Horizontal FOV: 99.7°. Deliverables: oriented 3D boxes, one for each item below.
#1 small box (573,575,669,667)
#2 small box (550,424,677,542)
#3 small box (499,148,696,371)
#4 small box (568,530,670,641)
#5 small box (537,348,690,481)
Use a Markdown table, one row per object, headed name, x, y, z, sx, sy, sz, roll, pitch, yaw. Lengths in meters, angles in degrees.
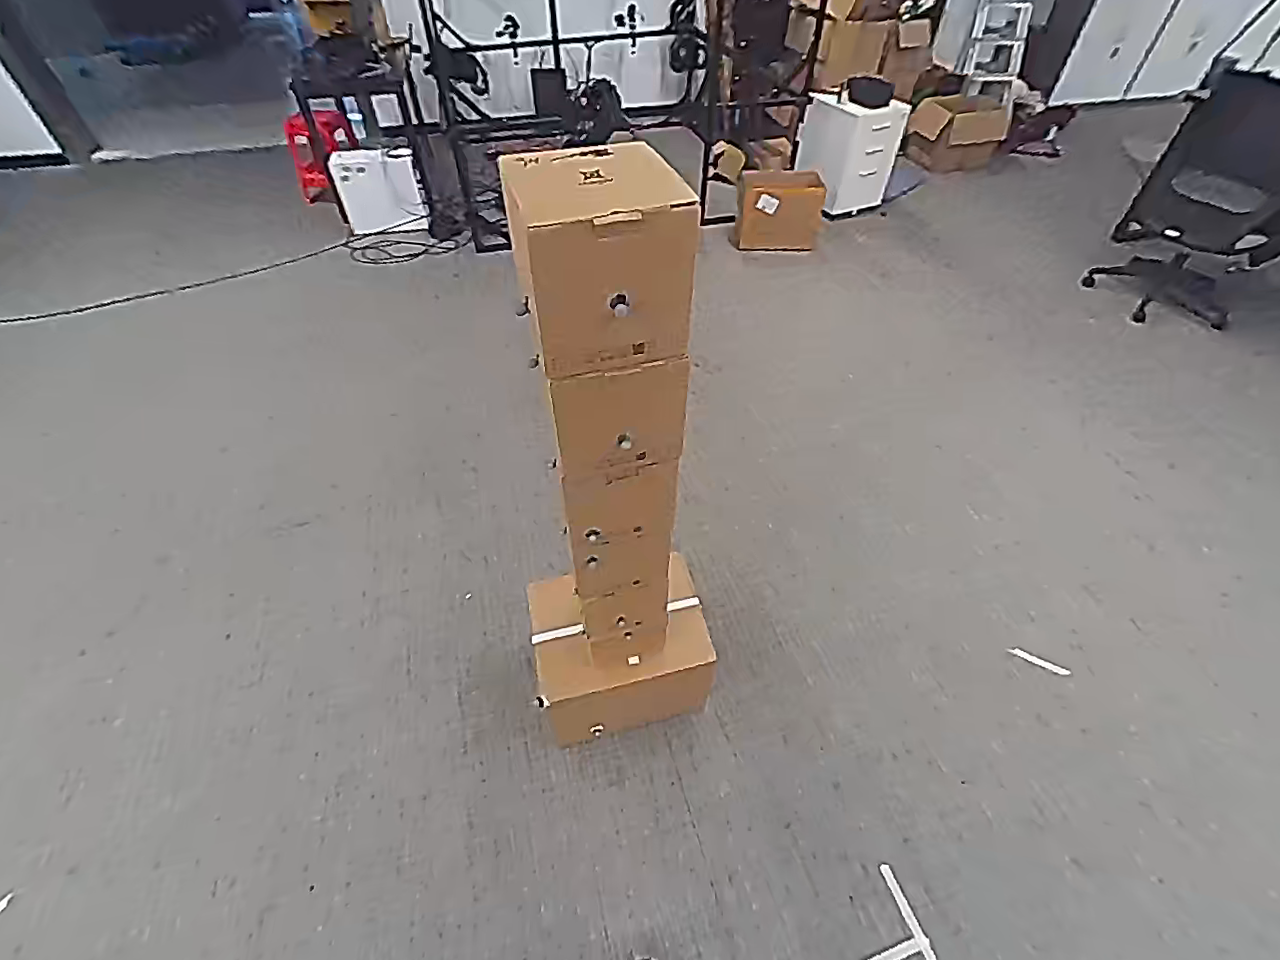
| name | x | y | z | sx | sy | sz | roll | pitch | yaw |
| --- | --- | --- | --- | --- | --- | --- | --- | --- | --- |
| small box | -0.043 | 0.297 | 1.218 | 0.179 | 0.176 | 0.168 | -12 | 50 | -12 |
| small box | -0.044 | -0.020 | 0.844 | 0.168 | 0.176 | 0.179 | -10 | 49 | -9 |
| small box | -0.047 | -0.237 | 0.597 | 0.168 | 0.176 | 0.179 | -13 | 51 | -12 |
| small box | -0.045 | 0.196 | 1.091 | 0.168 | 0.176 | 0.179 | -12 | 50 | -10 |
| small box | -0.043 | -0.127 | 0.719 | 0.168 | 0.176 | 0.179 | -13 | 51 | -10 |
